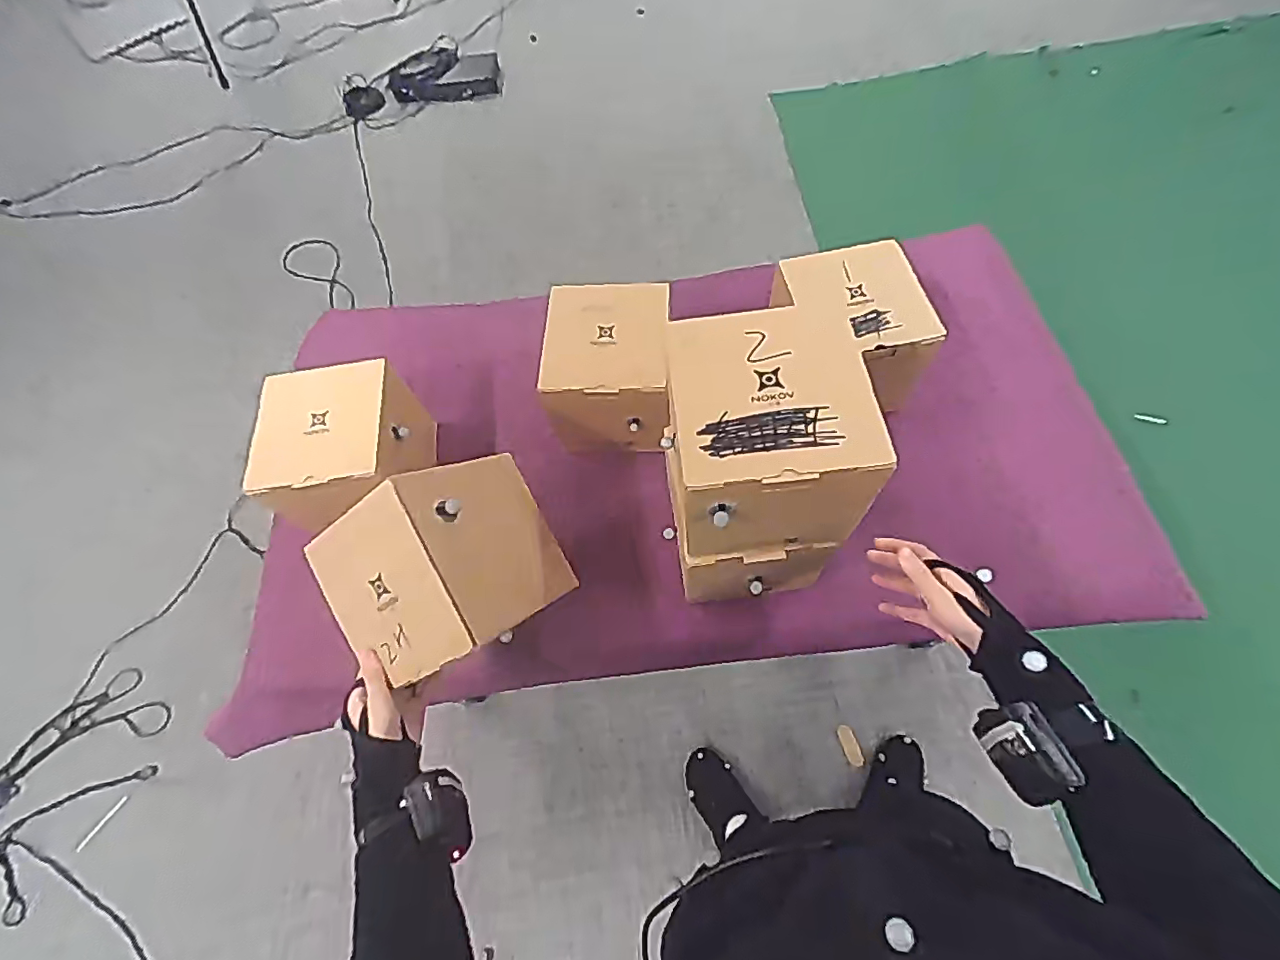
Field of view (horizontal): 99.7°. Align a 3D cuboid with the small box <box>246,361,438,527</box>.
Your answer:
[{"bbox_3d":[-0.397,-0.037,0.756,0.168,0.176,0.179,-8,65,1],"label":"small box"}]

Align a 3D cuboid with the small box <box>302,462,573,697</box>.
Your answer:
[{"bbox_3d":[-0.206,0.092,0.573,0.168,0.176,0.179,-30,86,29],"label":"small box"}]

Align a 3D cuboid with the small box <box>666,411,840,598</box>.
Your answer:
[{"bbox_3d":[0.126,0.041,0.666,0.168,0.176,0.179,-7,64,1],"label":"small box"}]

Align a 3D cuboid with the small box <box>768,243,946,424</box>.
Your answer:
[{"bbox_3d":[0.288,-0.194,0.763,0.168,0.176,0.179,-10,63,1],"label":"small box"}]
